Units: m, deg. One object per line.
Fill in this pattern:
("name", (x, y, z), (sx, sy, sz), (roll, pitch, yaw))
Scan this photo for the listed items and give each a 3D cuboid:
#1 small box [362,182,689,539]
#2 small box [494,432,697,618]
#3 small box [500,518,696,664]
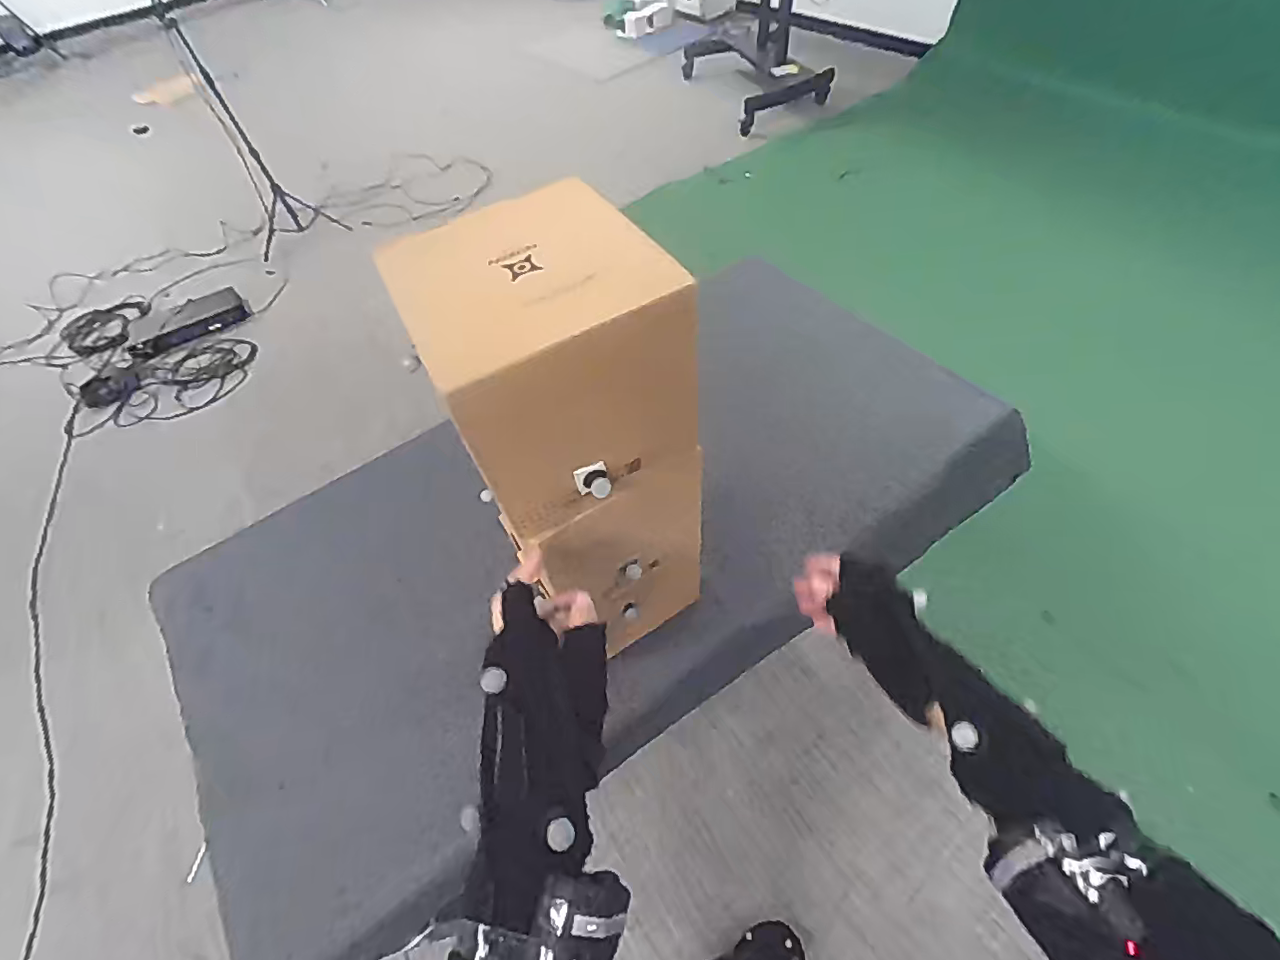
("small box", (-0.076, -0.088, 0.416), (0.168, 0.176, 0.179), (-29, 57, -12))
("small box", (-0.058, 0.005, 0.547), (0.168, 0.176, 0.179), (-33, 55, -16))
("small box", (-0.043, 0.100, 0.680), (0.179, 0.176, 0.168), (-31, 56, -14))
